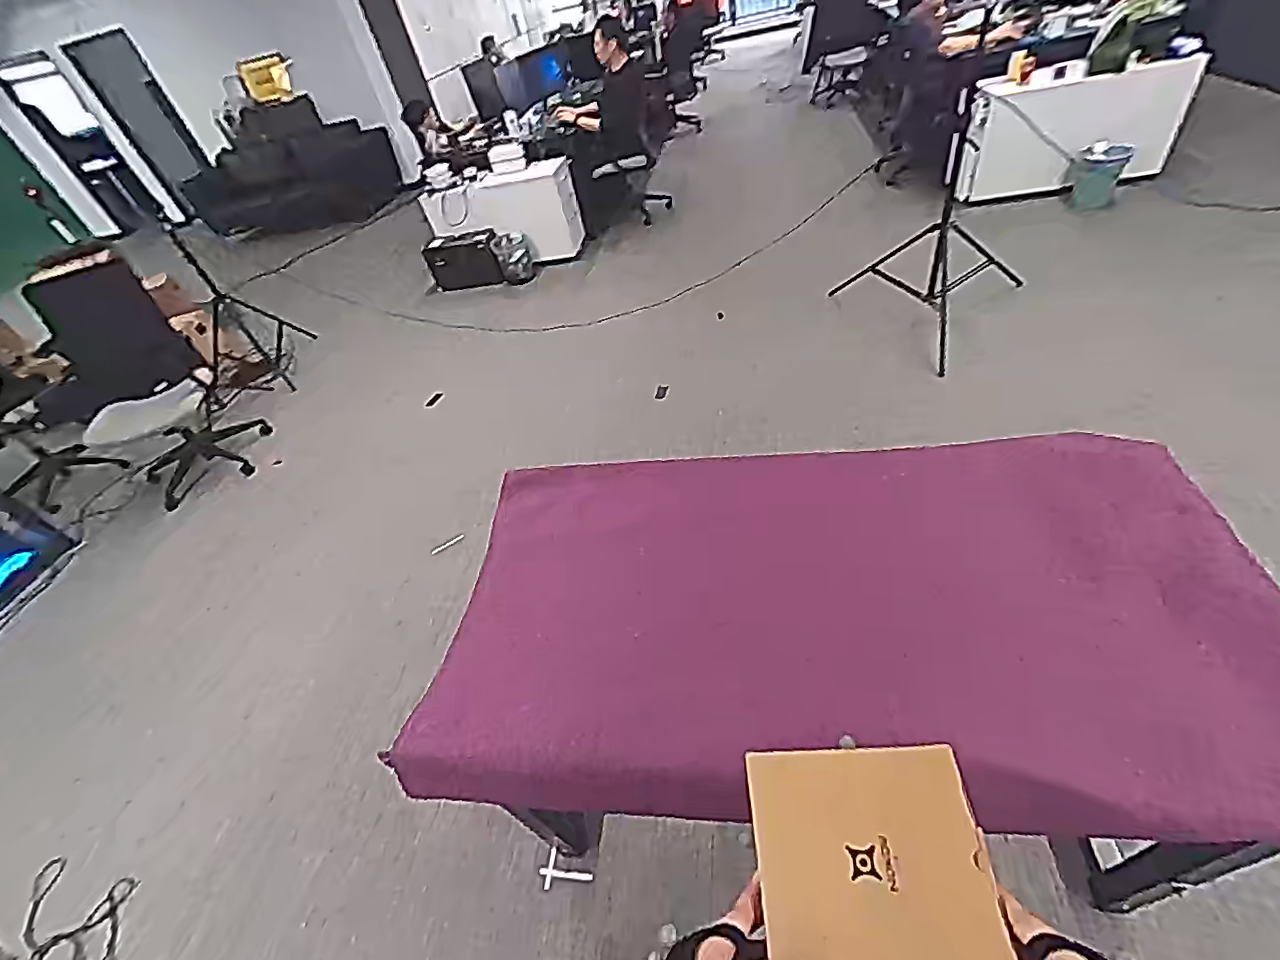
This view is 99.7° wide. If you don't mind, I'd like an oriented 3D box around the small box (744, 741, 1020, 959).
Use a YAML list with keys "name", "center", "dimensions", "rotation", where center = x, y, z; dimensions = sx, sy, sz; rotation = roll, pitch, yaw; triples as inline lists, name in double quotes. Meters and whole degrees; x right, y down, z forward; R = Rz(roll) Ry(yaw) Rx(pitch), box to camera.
- name: "small box"
  center: [0.194, 0.346, 0.486]
  dimensions: [0.179, 0.176, 0.168]
  rotation: [-7, 51, 7]
